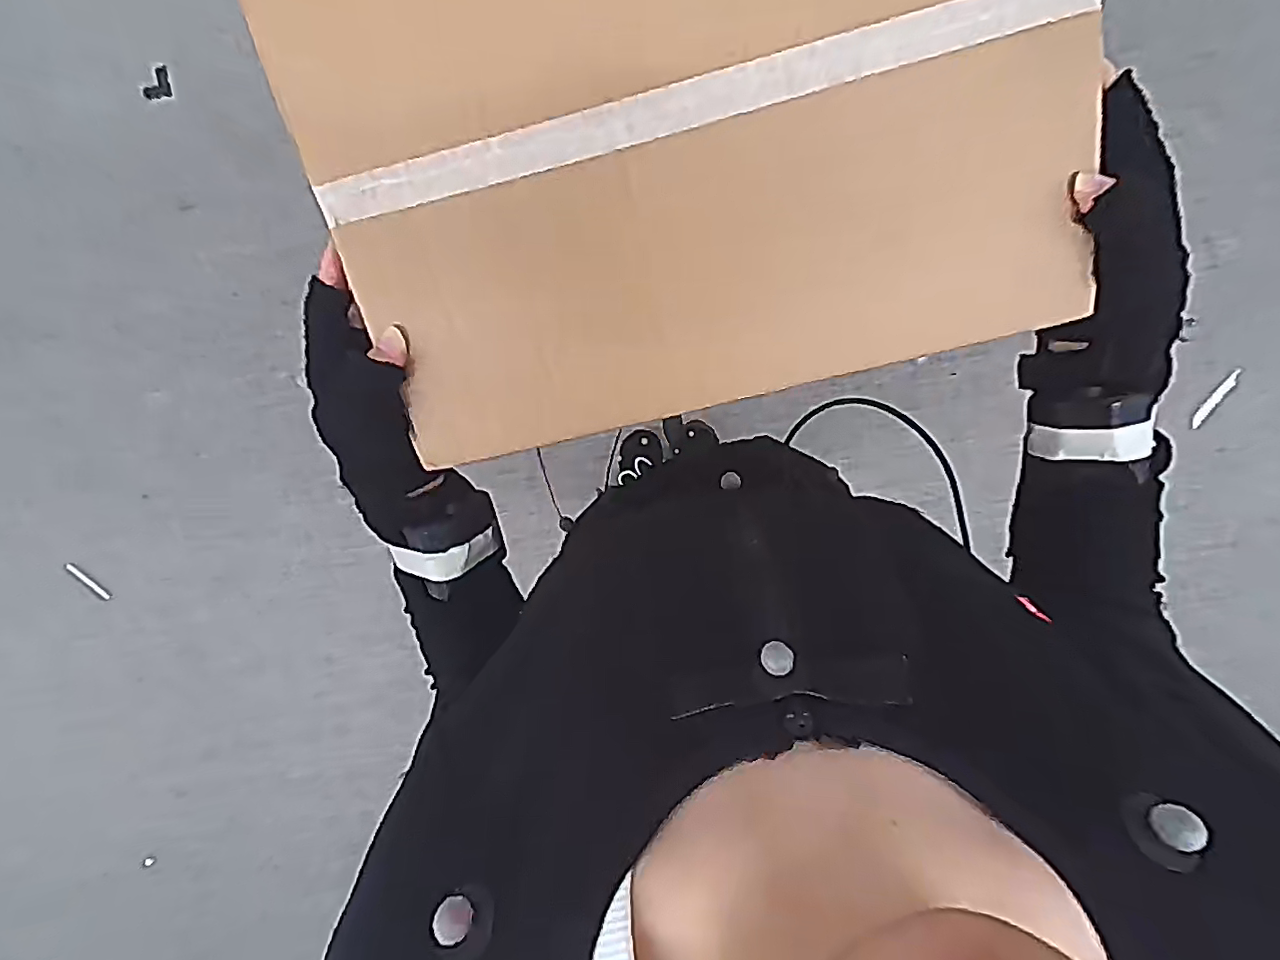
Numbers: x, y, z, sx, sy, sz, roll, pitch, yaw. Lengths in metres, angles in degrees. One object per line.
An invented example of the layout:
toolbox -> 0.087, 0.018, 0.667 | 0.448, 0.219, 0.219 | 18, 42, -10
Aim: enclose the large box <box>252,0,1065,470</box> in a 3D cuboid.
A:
large box -> 0.024, -0.240, 0.429 | 0.408, 0.320, 0.320 | -13, 108, 5
